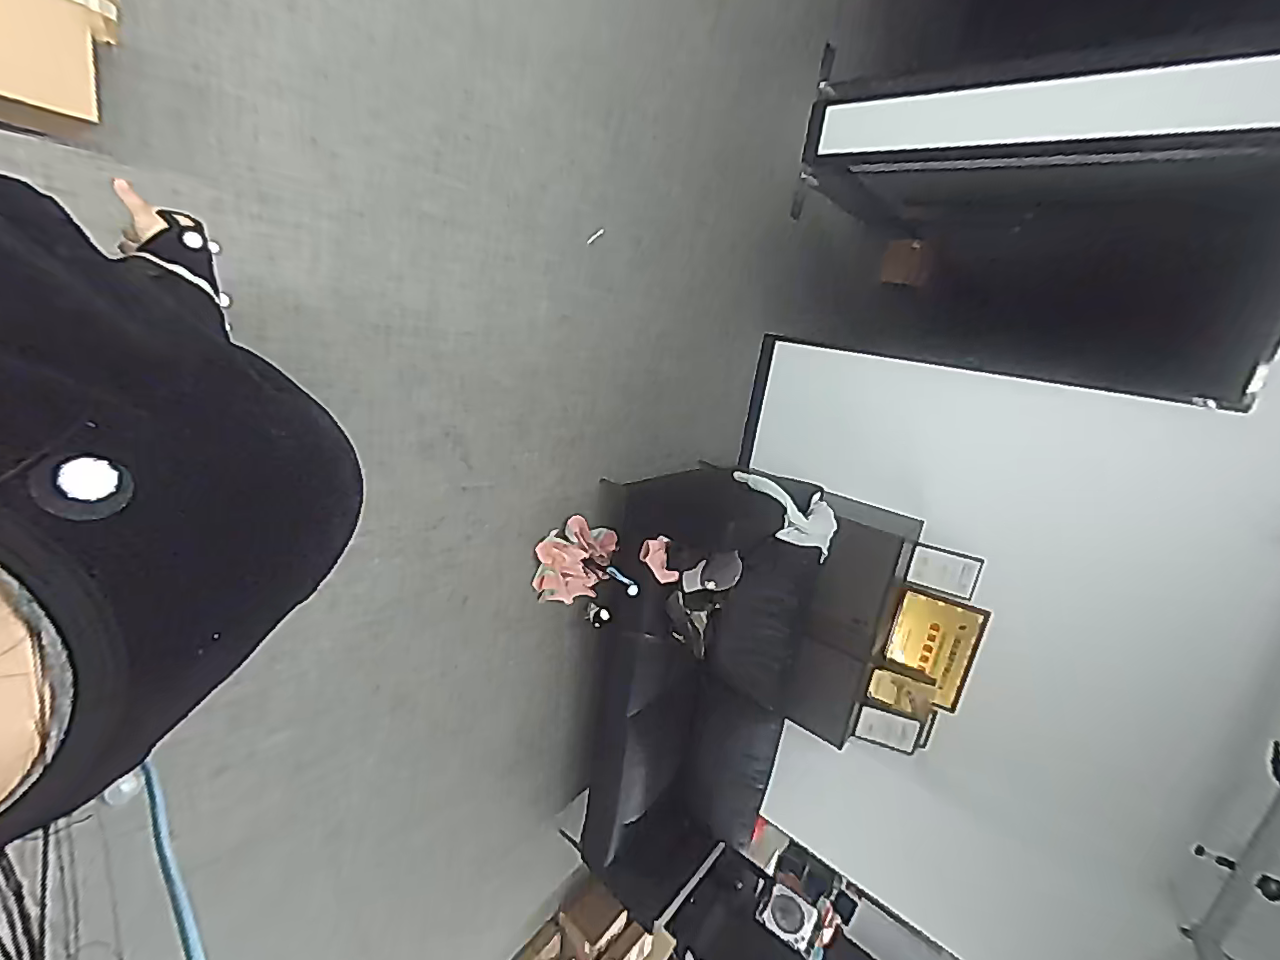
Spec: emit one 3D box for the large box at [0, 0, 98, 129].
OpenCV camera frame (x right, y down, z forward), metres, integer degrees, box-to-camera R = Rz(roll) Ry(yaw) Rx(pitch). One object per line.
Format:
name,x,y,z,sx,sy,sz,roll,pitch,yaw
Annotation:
large box,-1.026,-0.706,0.705,0.408,0.320,0.320,-9,114,-50
